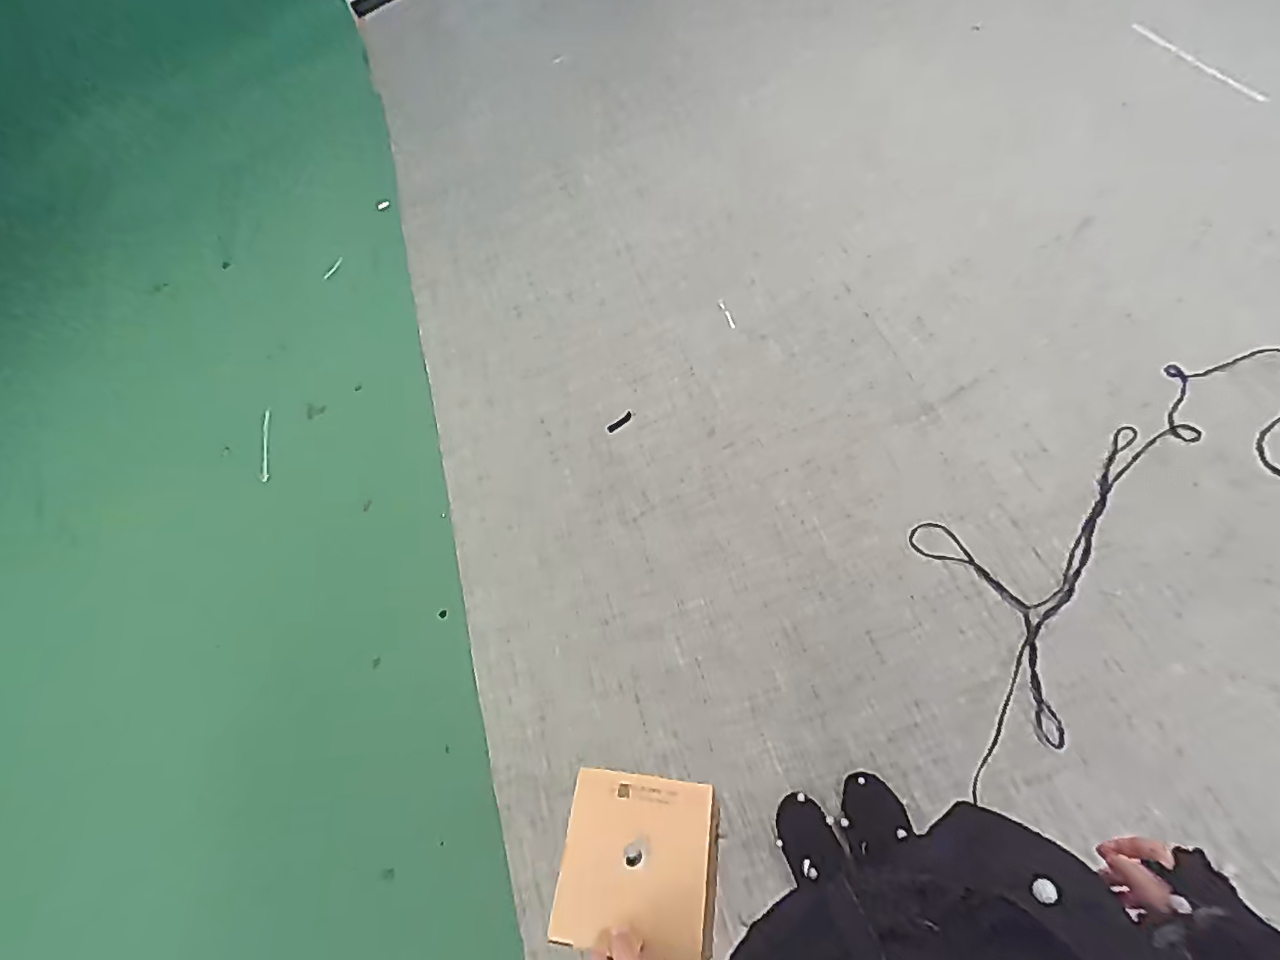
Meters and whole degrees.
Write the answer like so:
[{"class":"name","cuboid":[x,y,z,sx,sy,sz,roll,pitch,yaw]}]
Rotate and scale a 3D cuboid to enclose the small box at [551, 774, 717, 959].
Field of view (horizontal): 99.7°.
[{"class":"small box","cuboid":[0.007,0.475,0.665,0.168,0.179,0.176,1,52,12]}]
